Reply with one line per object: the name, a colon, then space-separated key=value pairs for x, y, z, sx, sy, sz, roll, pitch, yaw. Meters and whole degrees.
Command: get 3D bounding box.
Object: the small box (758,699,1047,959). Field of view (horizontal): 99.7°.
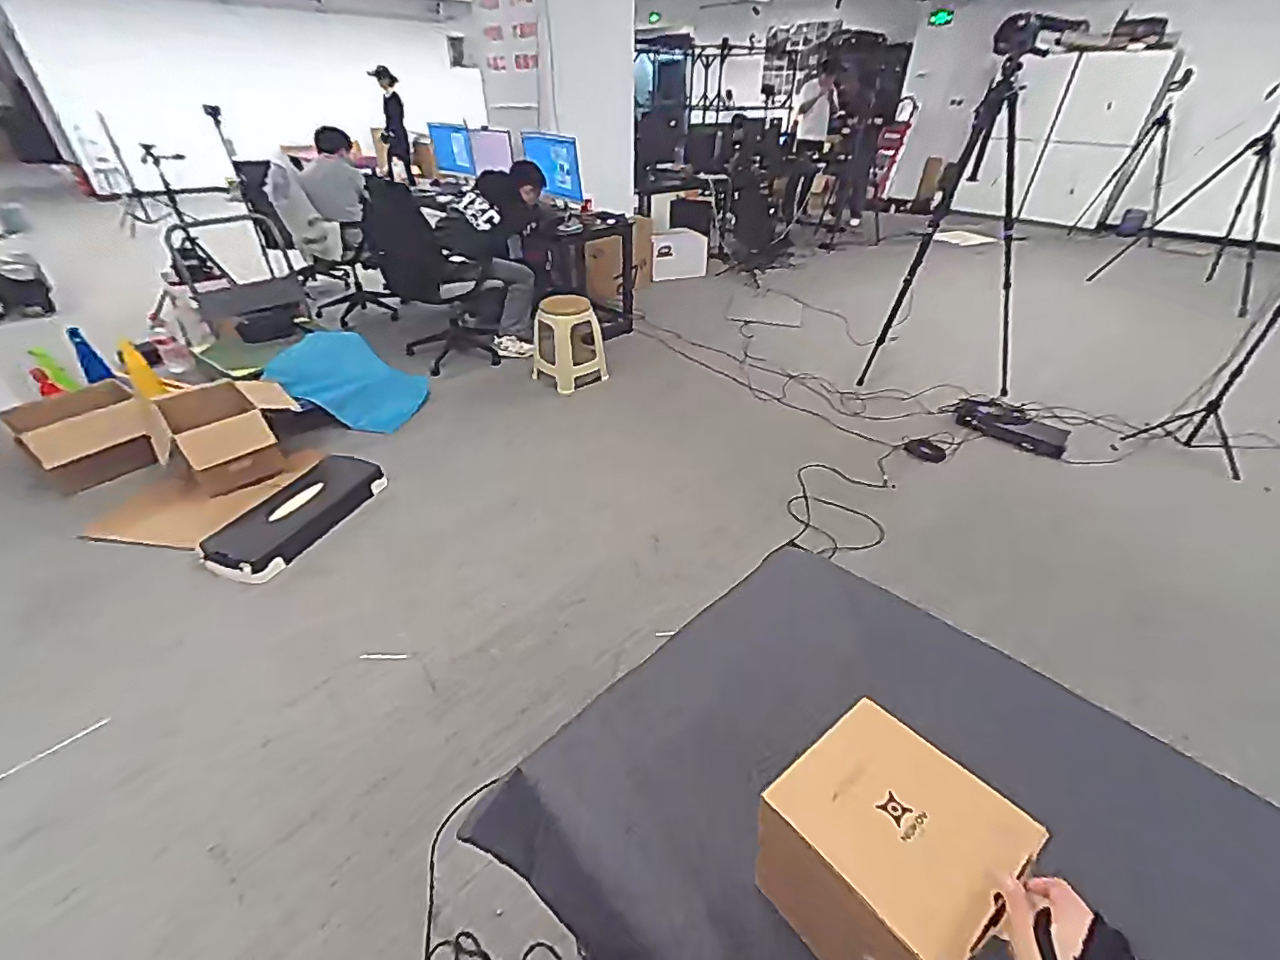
small box: x=0.231 y=0.358 z=0.510 sx=0.168 sy=0.176 sz=0.179 roll=-23 pitch=33 yaw=-30
